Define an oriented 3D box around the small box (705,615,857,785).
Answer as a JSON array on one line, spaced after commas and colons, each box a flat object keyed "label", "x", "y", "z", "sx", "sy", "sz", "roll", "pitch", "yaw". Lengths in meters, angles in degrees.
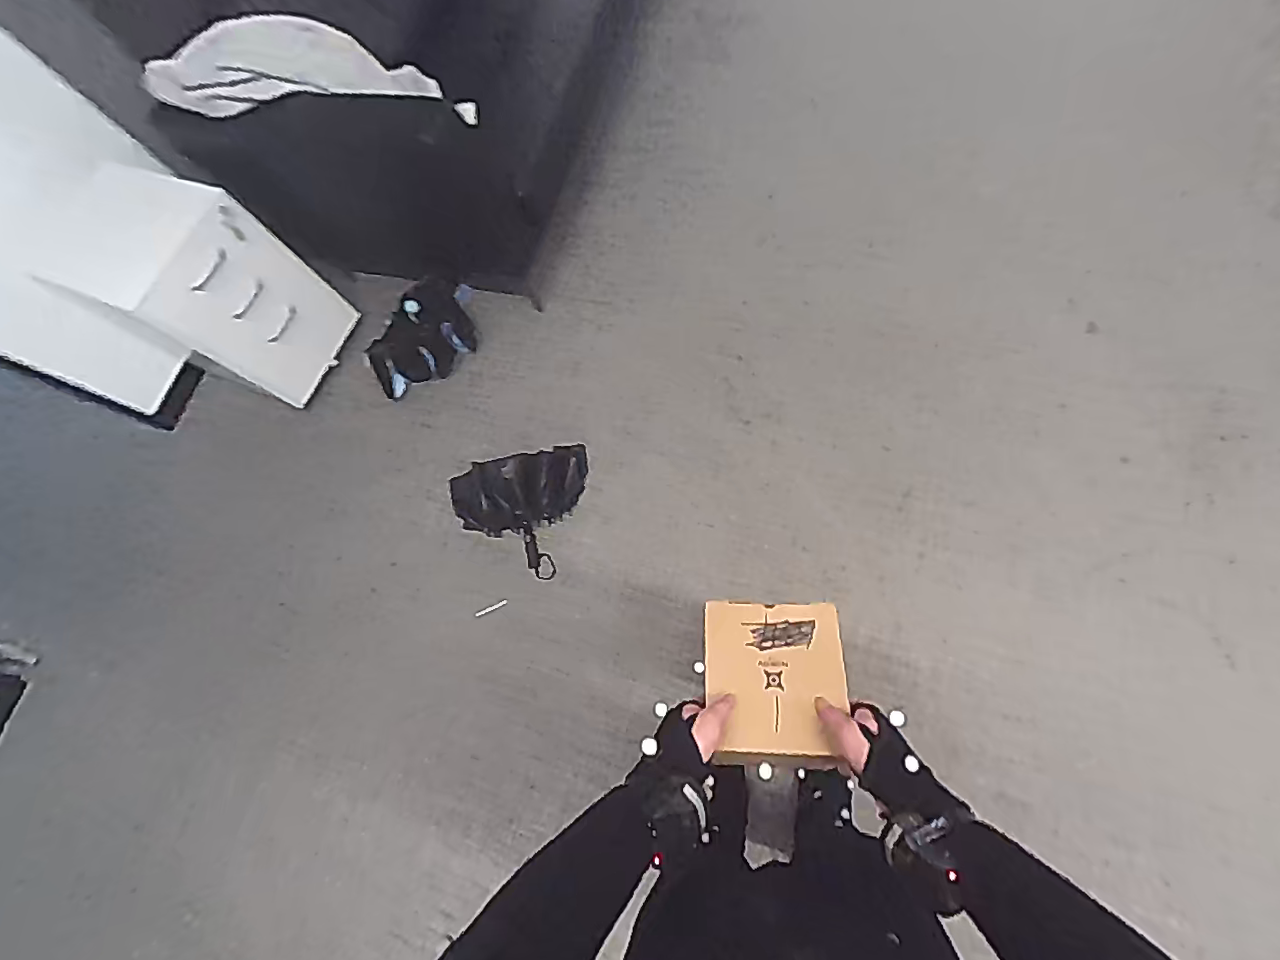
[{"label": "small box", "x": 0.170, "y": 0.292, "z": 0.712, "sx": 0.168, "sy": 0.176, "sz": 0.179, "roll": -1, "pitch": 57, "yaw": 7}]
